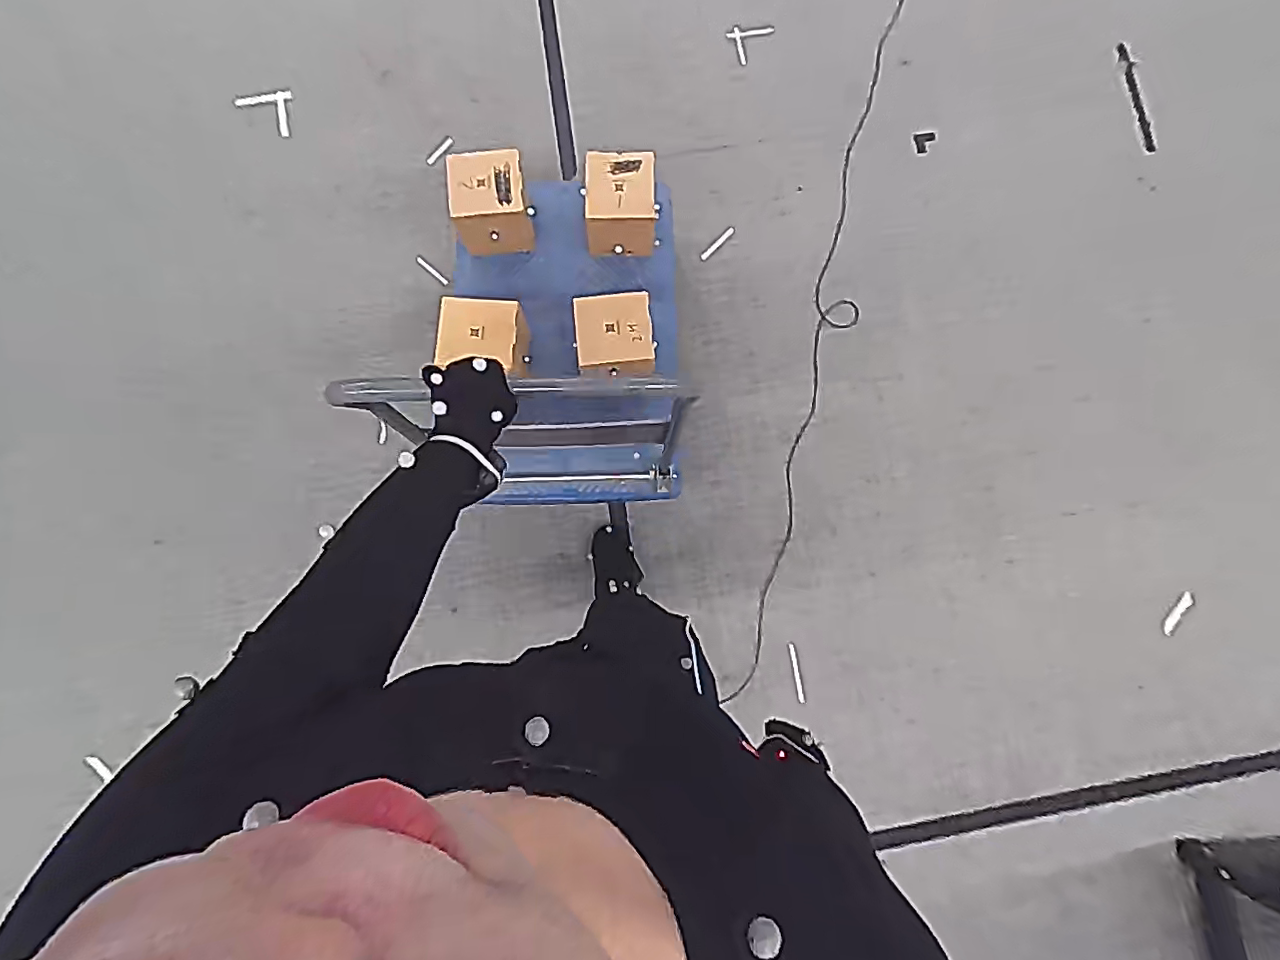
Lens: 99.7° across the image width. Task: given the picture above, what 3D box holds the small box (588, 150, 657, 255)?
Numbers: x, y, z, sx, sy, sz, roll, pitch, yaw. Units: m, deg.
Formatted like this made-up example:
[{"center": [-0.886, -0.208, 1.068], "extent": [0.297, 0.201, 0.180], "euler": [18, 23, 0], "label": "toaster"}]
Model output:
[{"center": [-0.043, -0.693, 1.361], "extent": [0.168, 0.176, 0.179], "euler": [0, 83, 0], "label": "small box"}]

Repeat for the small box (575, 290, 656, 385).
[{"center": [-0.055, -0.336, 1.306], "extent": [0.179, 0.176, 0.168], "euler": [-6, 82, -1], "label": "small box"}]

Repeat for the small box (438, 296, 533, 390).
[{"center": [-0.365, -0.324, 1.302], "extent": [0.179, 0.176, 0.168], "euler": [3, 81, -2], "label": "small box"}]
